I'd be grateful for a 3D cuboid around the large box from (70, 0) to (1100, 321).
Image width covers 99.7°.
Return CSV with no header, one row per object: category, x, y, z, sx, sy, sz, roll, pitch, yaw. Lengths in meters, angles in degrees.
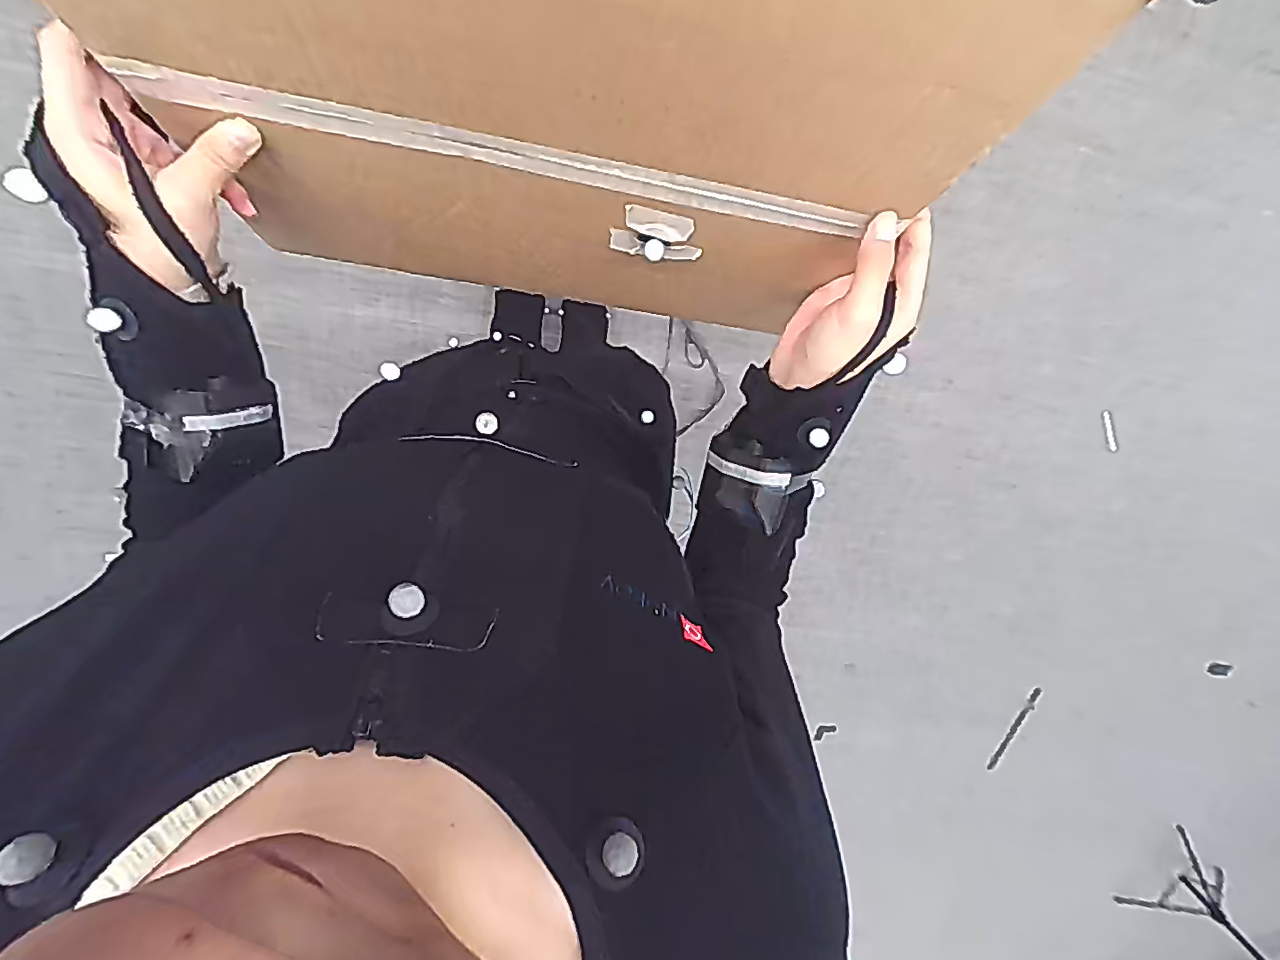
large box,-0.038,-0.323,0.308,0.408,0.320,0.320,6,82,-9
